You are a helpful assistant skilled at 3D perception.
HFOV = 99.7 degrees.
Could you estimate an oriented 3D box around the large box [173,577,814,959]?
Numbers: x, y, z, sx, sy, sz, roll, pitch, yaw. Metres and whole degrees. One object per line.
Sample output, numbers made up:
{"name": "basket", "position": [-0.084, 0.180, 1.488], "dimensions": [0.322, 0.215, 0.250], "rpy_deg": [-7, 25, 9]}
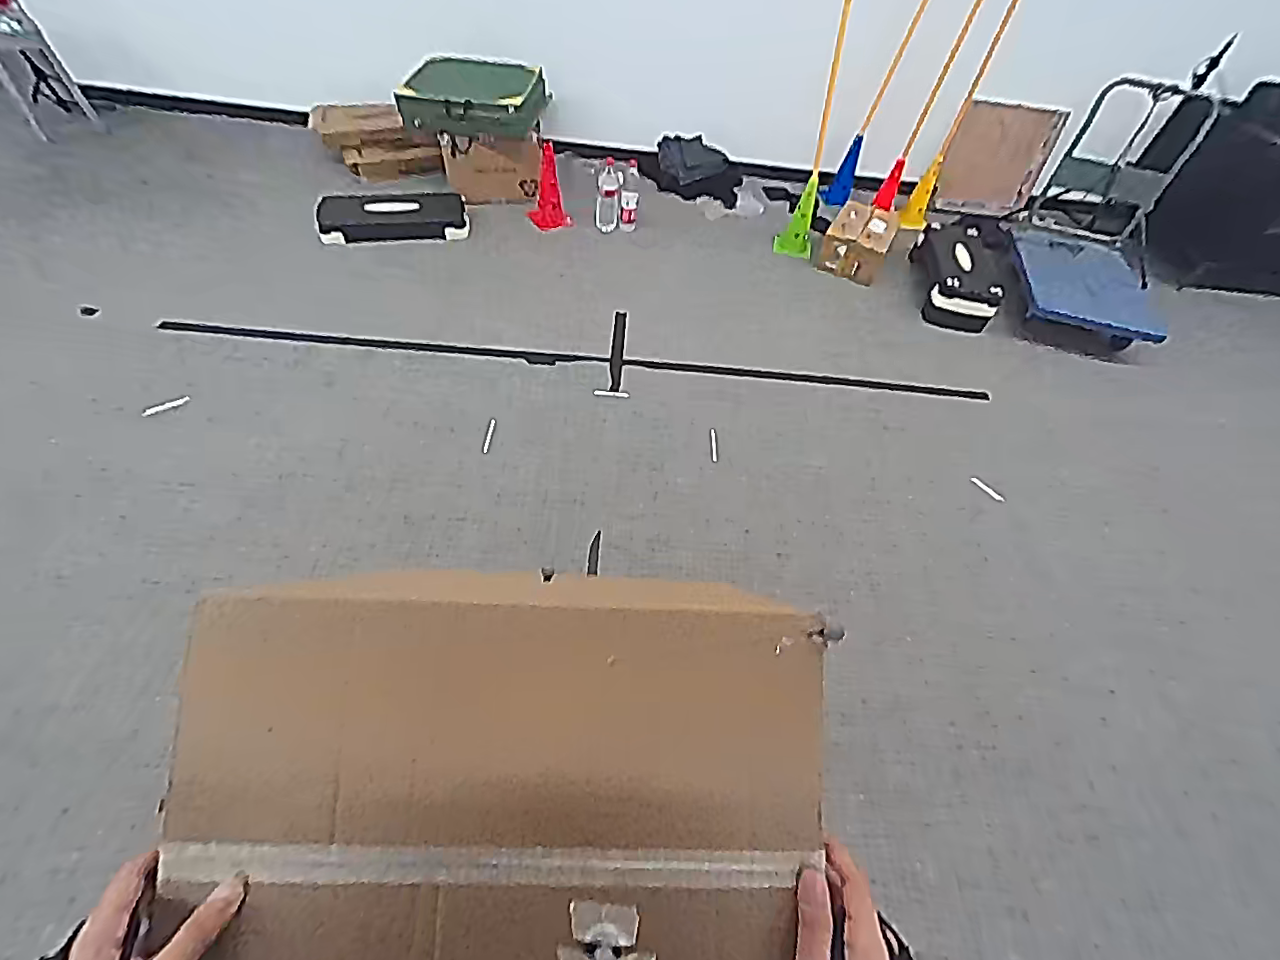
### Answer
{"name": "large box", "position": [-0.093, 0.253, 0.494], "dimensions": [0.408, 0.320, 0.320], "rpy_deg": [2, 84, -3]}
